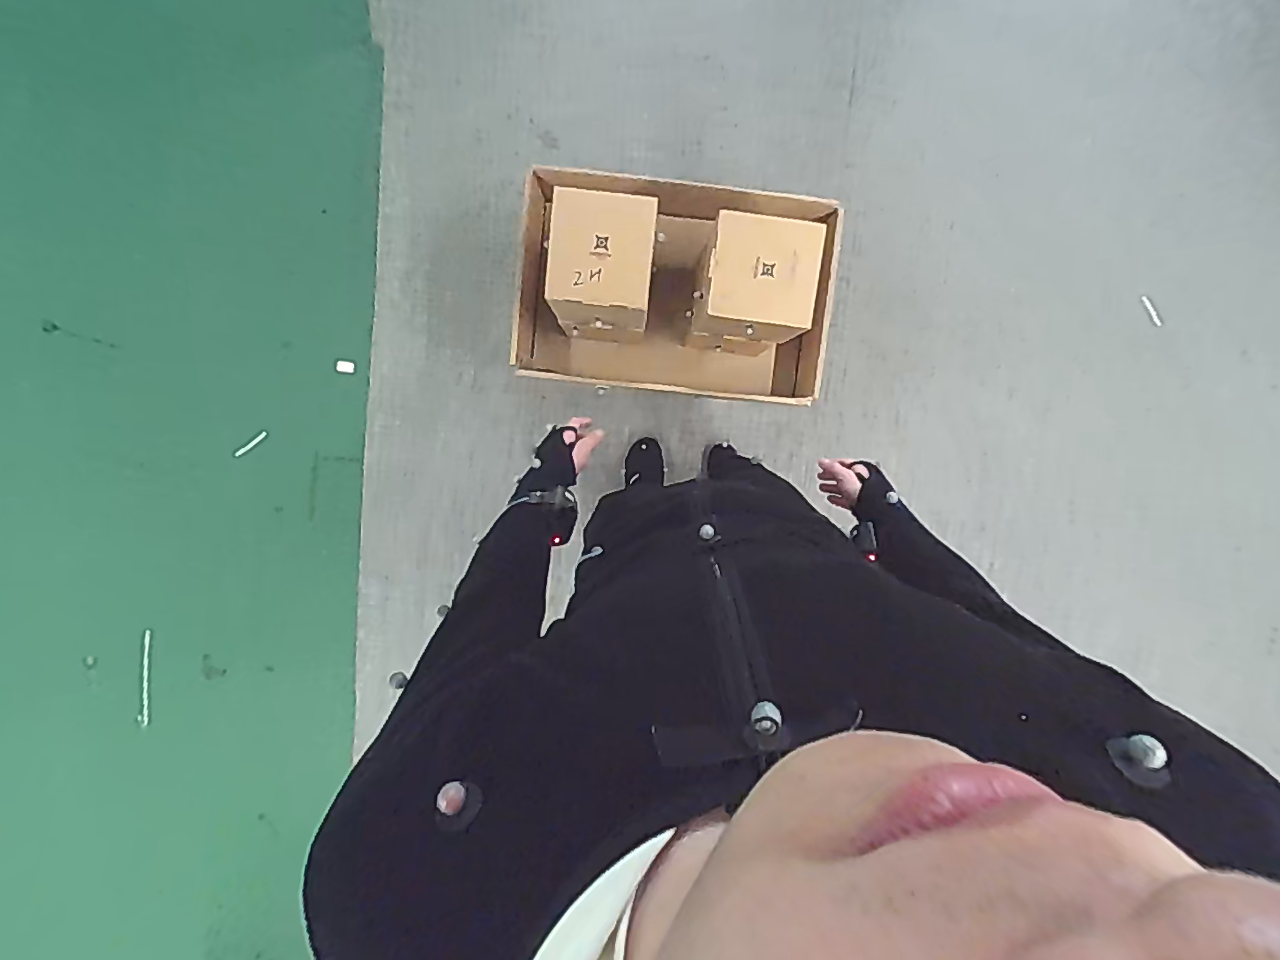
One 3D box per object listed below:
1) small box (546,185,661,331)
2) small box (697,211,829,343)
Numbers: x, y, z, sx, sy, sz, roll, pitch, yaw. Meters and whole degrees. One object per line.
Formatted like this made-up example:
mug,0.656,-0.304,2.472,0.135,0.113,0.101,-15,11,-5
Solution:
small box,-0.060,-0.368,0.925,0.168,0.176,0.179,6,95,-1
small box,0.200,-0.339,0.936,0.179,0.176,0.168,8,96,-3
